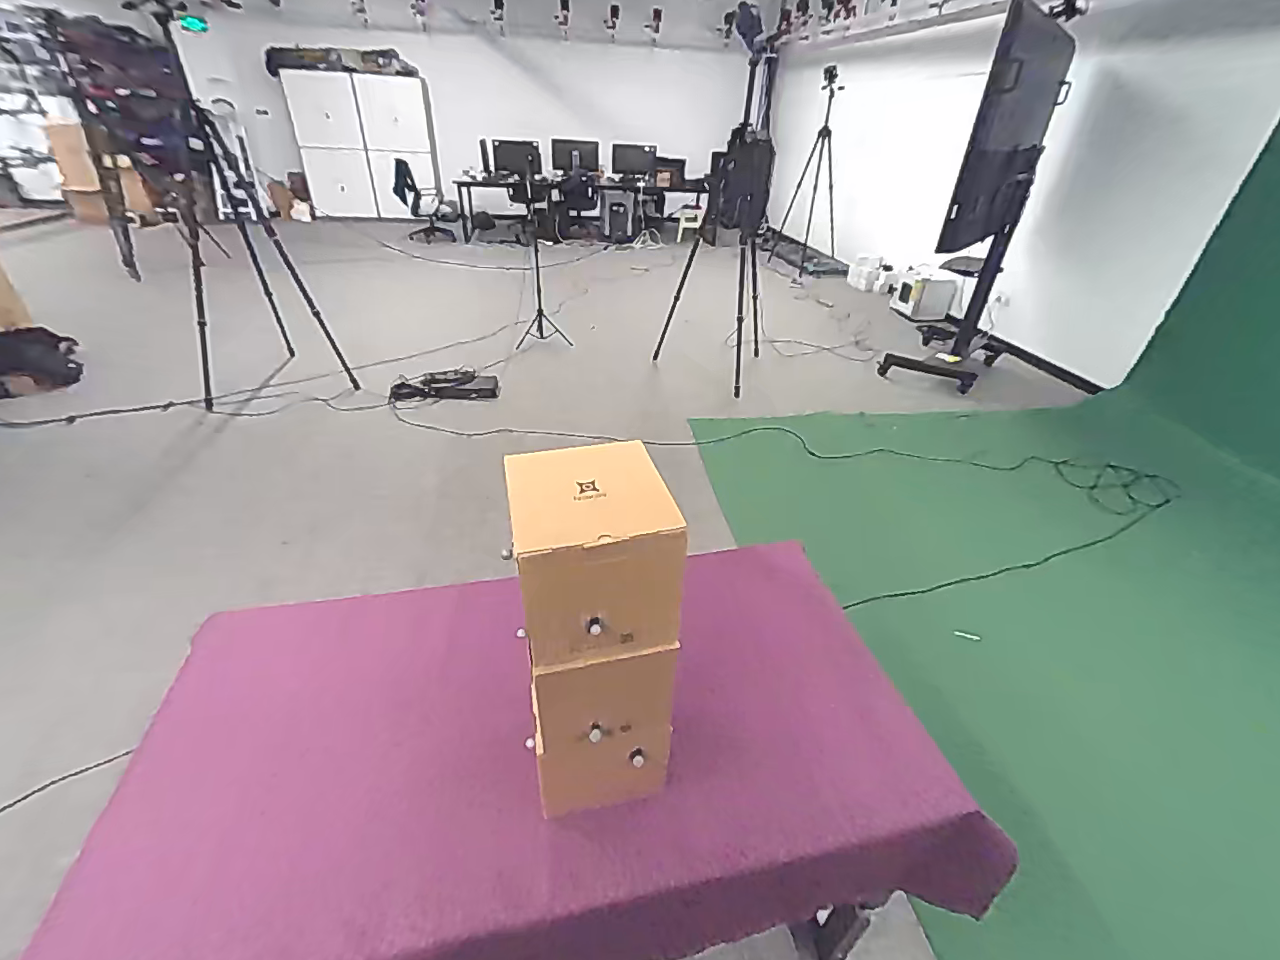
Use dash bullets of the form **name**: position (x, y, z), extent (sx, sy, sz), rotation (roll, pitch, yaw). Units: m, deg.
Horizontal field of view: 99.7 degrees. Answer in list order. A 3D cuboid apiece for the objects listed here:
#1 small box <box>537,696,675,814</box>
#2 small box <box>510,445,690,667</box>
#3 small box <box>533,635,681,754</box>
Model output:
- **small box**: position (-0.058, 0.354, 0.794), extent (0.179, 0.176, 0.168), rotation (-6, 34, -11)
- **small box**: position (-0.053, 0.080, 0.618), extent (0.168, 0.176, 0.179), rotation (-8, 36, -14)
- **small box**: position (-0.054, 0.218, 0.705), extent (0.168, 0.176, 0.179), rotation (-7, 36, -12)
